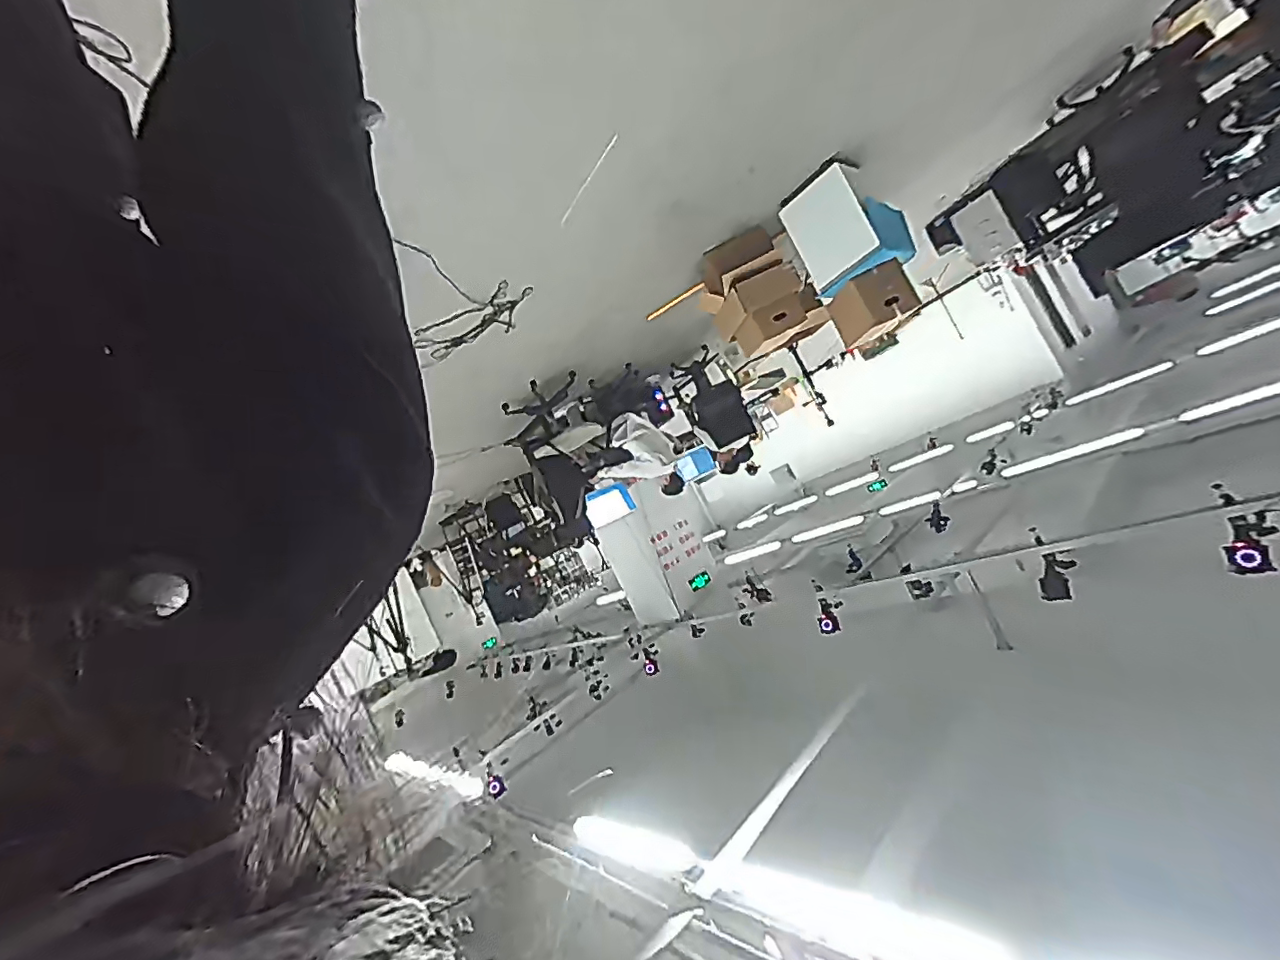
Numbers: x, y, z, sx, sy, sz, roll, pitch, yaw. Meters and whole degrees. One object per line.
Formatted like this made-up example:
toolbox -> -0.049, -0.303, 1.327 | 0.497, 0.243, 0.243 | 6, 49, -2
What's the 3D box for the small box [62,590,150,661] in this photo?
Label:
small box -> -1.777, 0.483, 1.805 | 0.168, 0.176, 0.179 | -24, 176, -43
